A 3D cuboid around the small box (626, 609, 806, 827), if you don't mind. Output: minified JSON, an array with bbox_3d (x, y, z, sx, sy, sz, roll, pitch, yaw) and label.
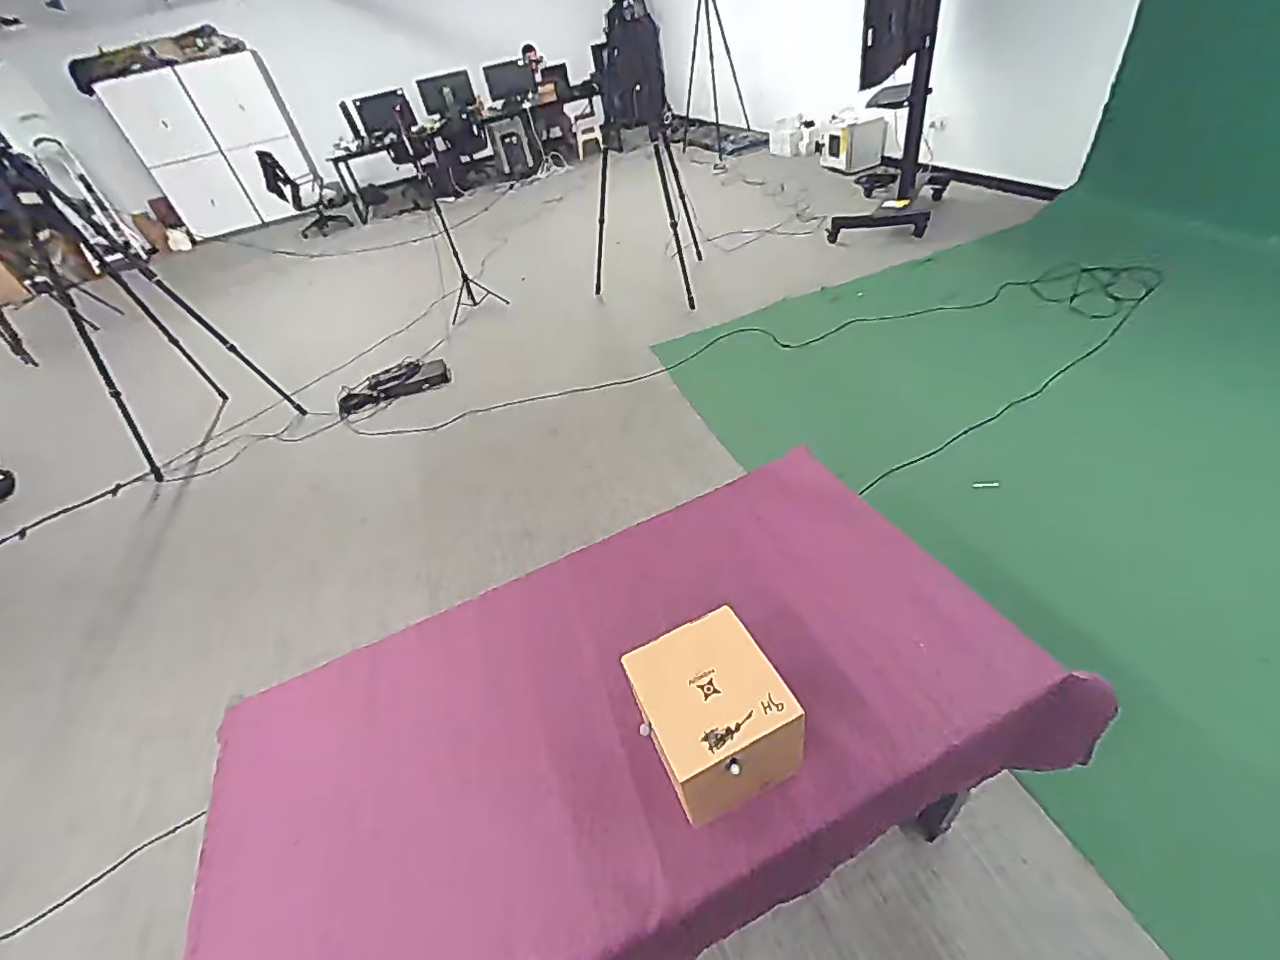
[{"bbox_3d":[0.100,0.314,0.718,0.168,0.176,0.179,-24,41,-10],"label":"small box"}]
